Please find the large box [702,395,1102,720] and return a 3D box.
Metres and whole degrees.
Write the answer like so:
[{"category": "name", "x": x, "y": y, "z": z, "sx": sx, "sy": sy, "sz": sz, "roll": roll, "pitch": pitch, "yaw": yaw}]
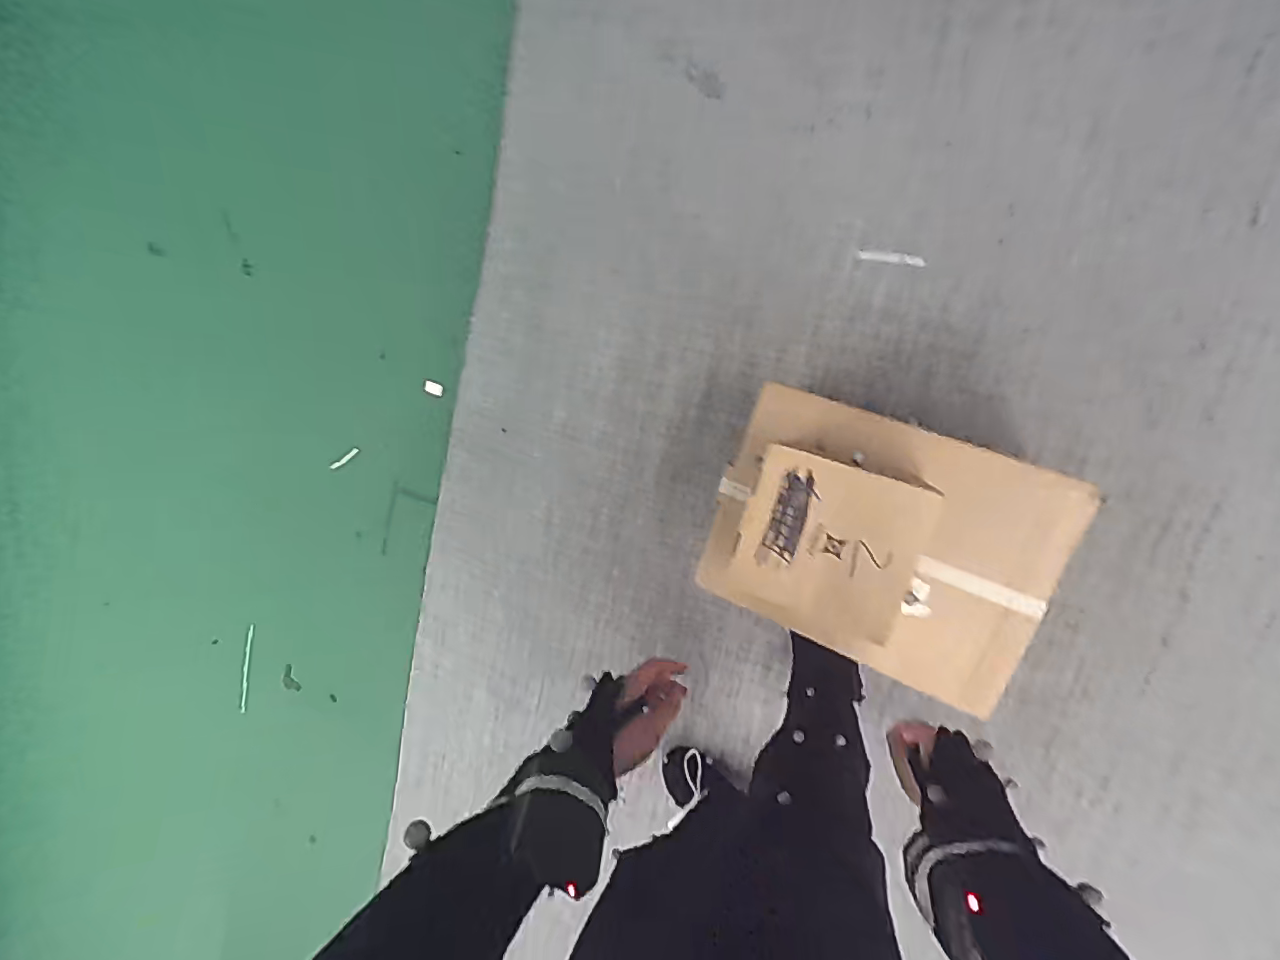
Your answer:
[{"category": "large box", "x": 0.359, "y": 0.081, "z": 0.841, "sx": 0.408, "sy": 0.320, "sz": 0.320, "roll": 22, "pitch": 102, "yaw": 19}]
